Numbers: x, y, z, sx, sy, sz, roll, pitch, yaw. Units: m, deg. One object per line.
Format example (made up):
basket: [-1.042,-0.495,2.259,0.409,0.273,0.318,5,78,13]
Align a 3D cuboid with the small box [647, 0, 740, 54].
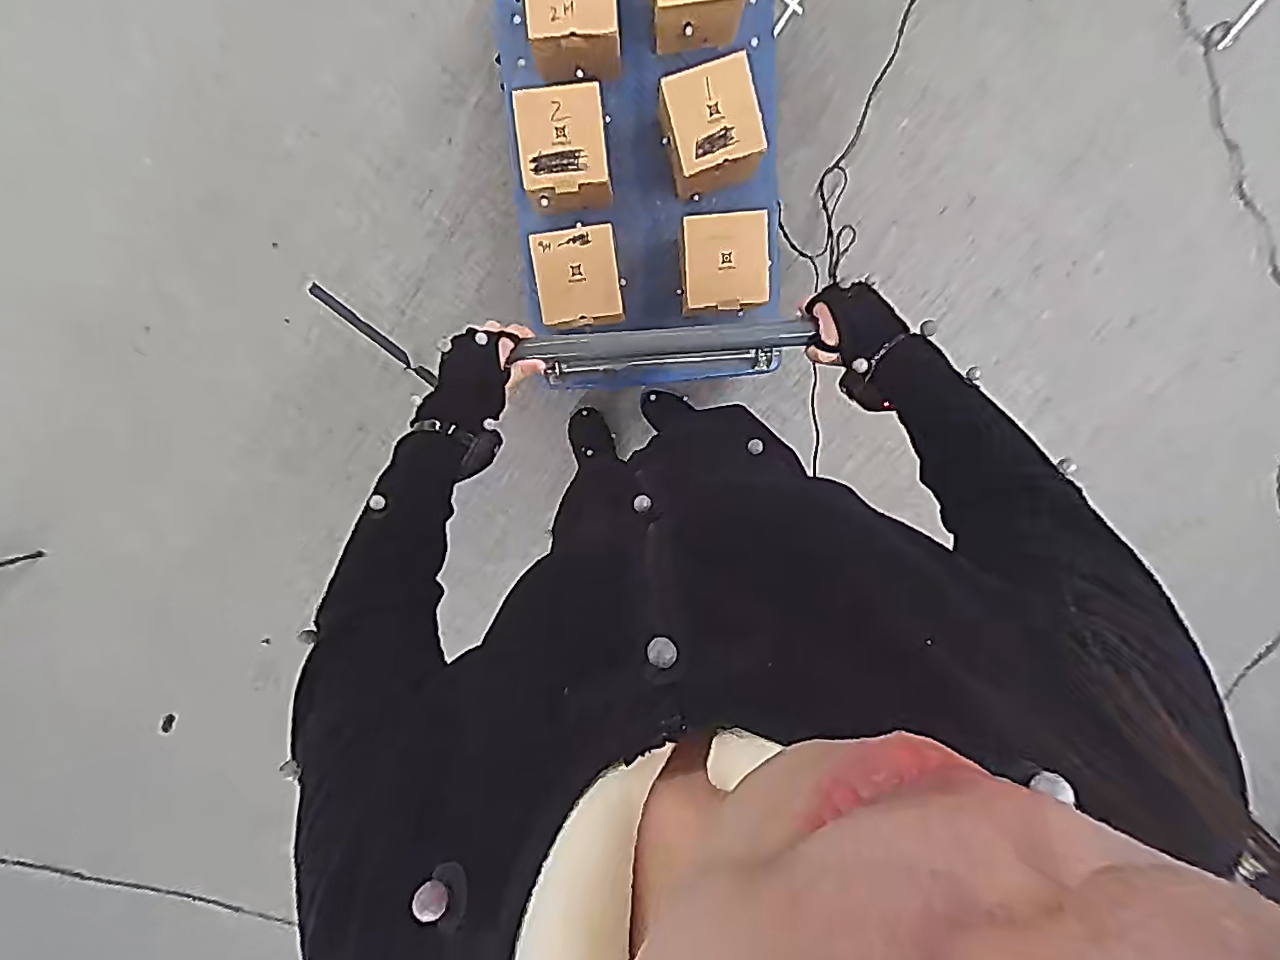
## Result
small box: [0.099,-0.963,1.043,0.168,0.176,0.179,-7,101,2]

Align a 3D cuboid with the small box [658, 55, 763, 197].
small box: [0.136,-0.699,1.095,0.168,0.176,0.179,-16,100,3]

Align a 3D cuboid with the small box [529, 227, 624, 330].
small box: [-0.126,-0.420,1.154,0.168,0.176,0.179,-8,102,1]

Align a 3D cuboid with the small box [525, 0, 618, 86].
small box: [-0.130,-0.909,1.053,0.168,0.176,0.179,-3,102,1]

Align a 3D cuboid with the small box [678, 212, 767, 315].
small box: [0.170,-0.448,1.148,0.168,0.176,0.179,-4,101,1]
